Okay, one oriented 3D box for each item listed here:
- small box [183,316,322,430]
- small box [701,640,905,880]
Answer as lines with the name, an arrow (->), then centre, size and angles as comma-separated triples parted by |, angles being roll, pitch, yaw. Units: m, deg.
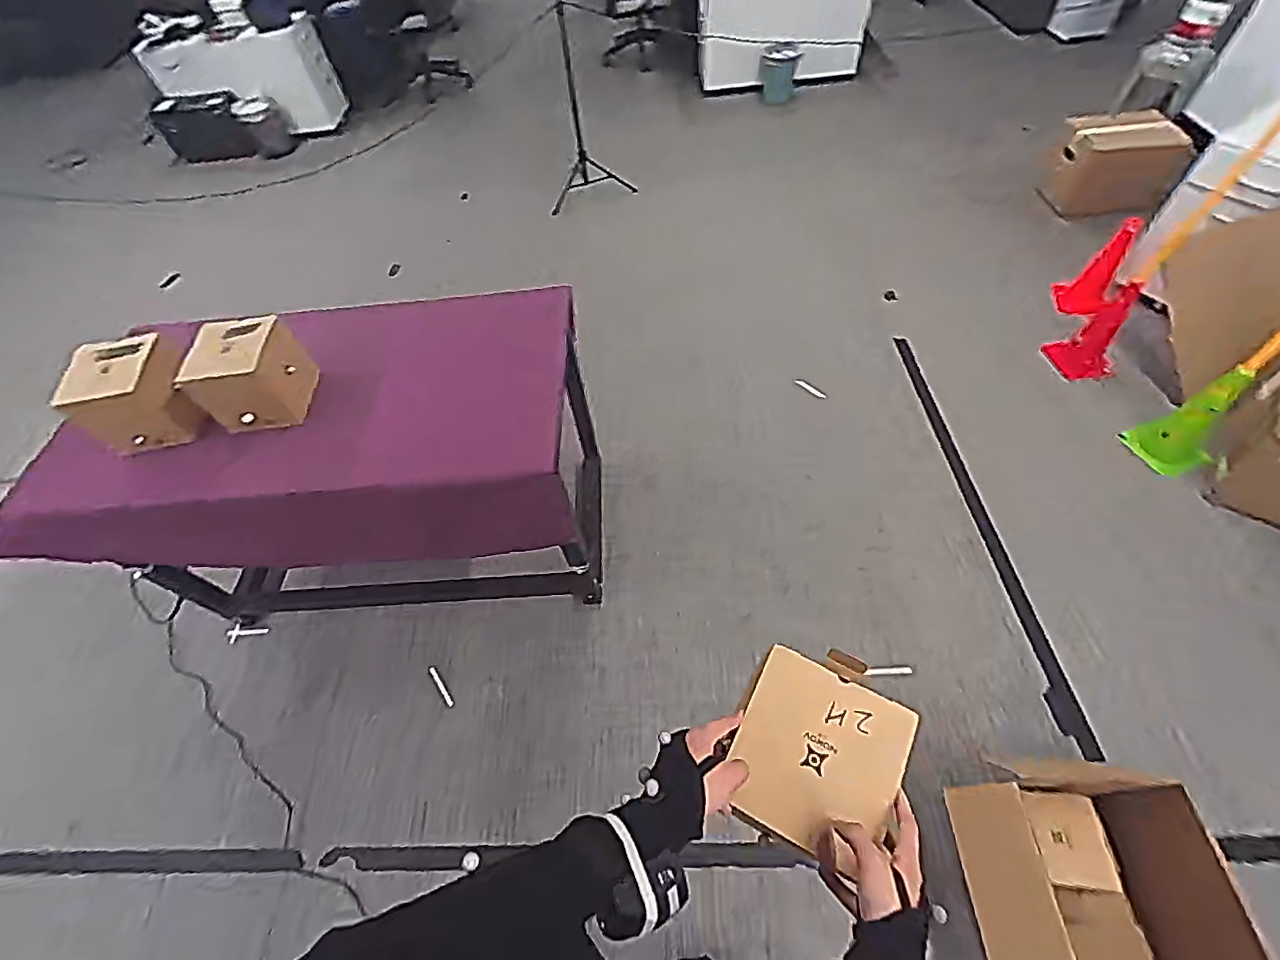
small box -> -0.844, -0.235, 1.202 | 0.168, 0.176, 0.179 | -7, 56, 1
small box -> 0.180, 0.325, 0.638 | 0.168, 0.176, 0.179 | 25, 62, 15
